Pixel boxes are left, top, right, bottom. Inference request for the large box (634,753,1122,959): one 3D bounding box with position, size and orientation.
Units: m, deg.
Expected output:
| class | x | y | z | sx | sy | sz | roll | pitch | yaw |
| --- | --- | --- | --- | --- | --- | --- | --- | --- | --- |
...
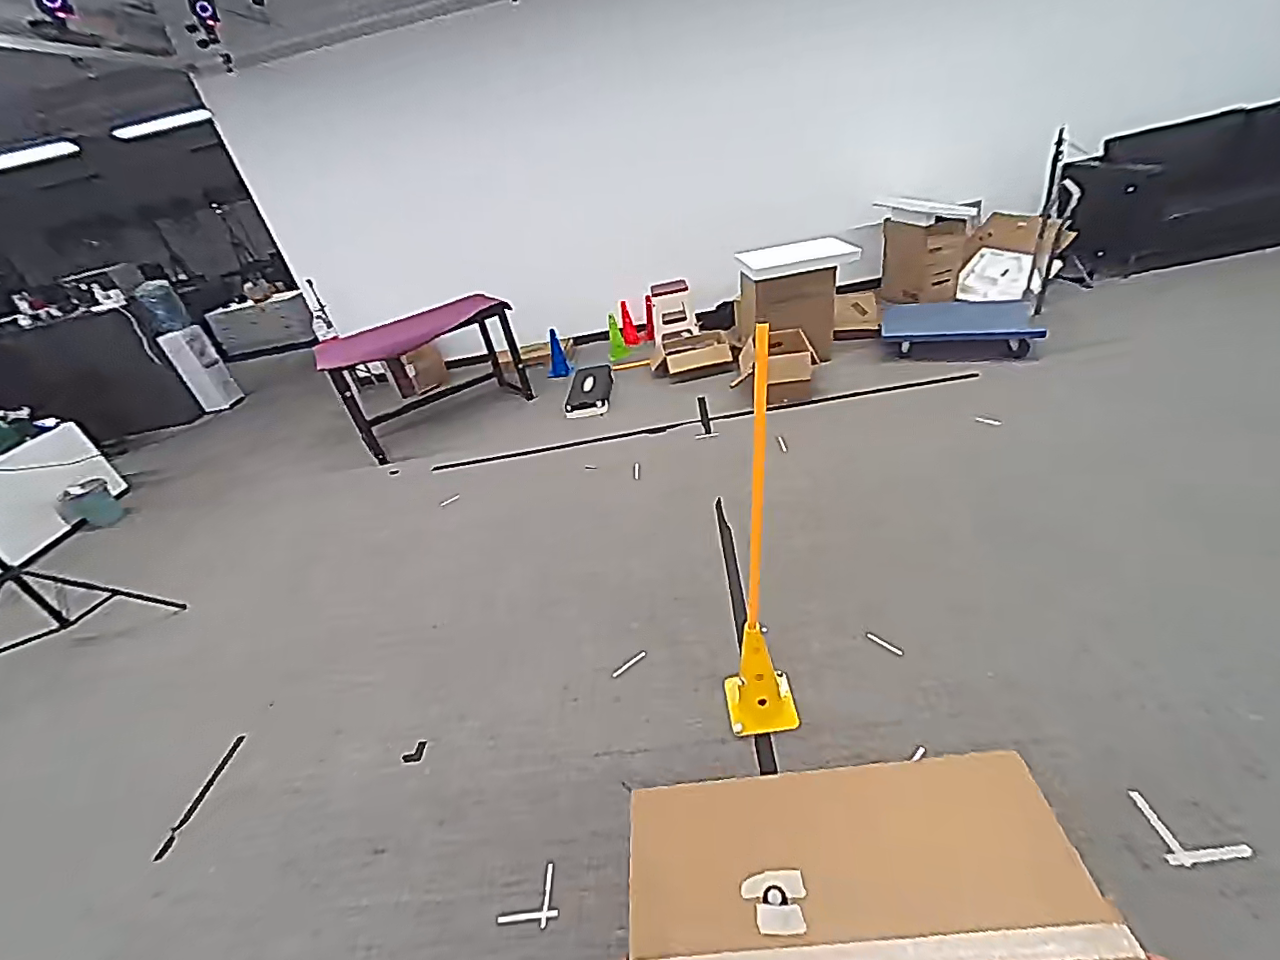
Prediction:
| class | x | y | z | sx | sy | sz | roll | pitch | yaw |
| --- | --- | --- | --- | --- | --- | --- | --- | --- | --- |
| large box | 0.224 | 0.528 | 0.546 | 0.408 | 0.320 | 0.320 | -11 | 34 | 6 |
